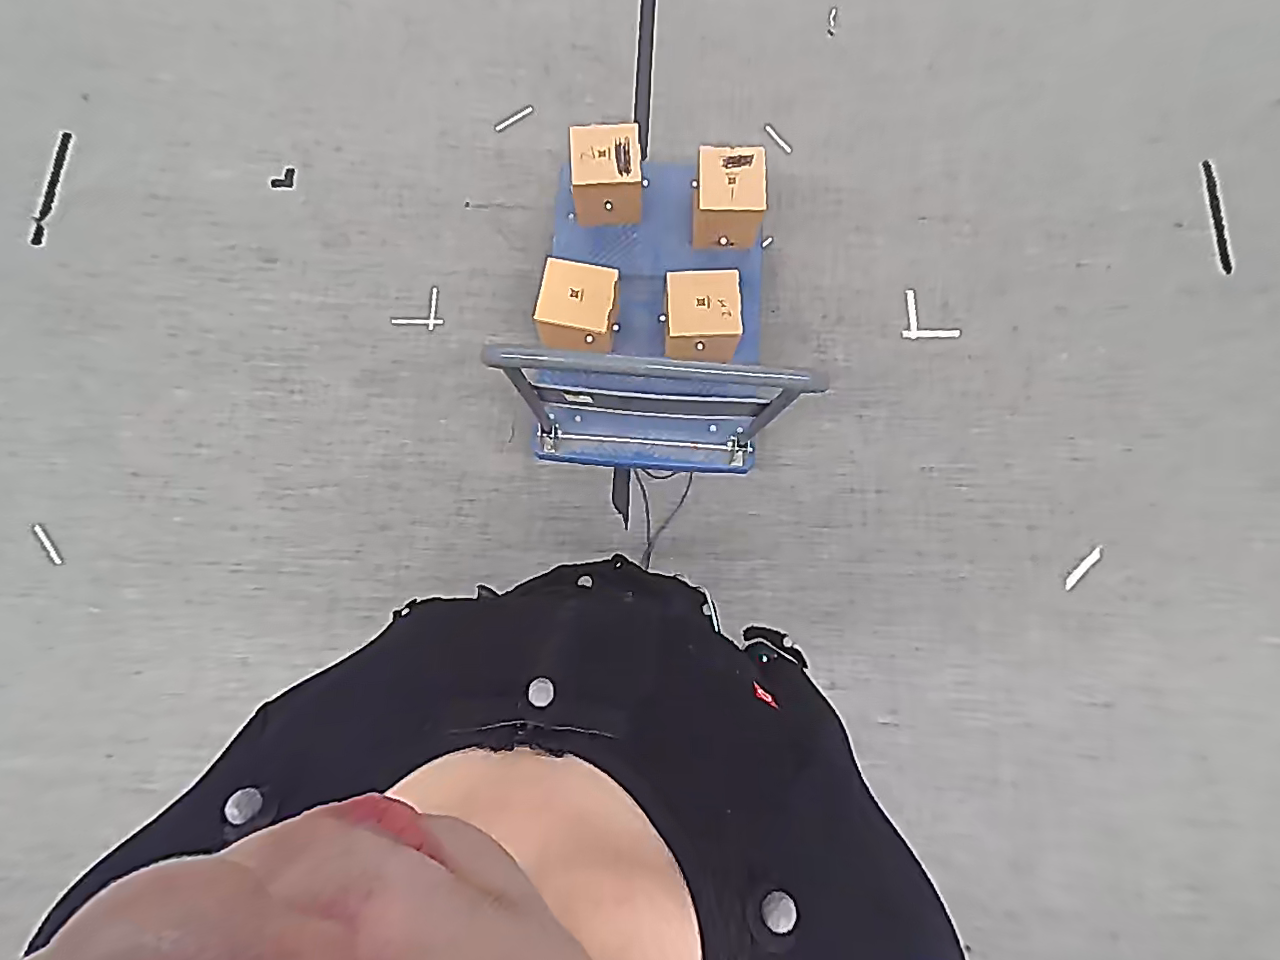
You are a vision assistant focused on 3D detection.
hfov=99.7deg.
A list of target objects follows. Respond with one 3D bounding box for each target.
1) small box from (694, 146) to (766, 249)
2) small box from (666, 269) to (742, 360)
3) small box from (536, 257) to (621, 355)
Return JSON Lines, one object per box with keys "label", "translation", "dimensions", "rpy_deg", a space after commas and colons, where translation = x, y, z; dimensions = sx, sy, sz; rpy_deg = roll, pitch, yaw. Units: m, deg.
{"label": "small box", "translation": [0.232, -0.738, 1.421], "dimensions": [0.168, 0.176, 0.179], "rpy_deg": [1, 82, 0]}
{"label": "small box", "translation": [0.155, -0.412, 1.367], "dimensions": [0.179, 0.176, 0.168], "rpy_deg": [-1, 81, 0]}
{"label": "small box", "translation": [-0.148, -0.432, 1.370], "dimensions": [0.179, 0.176, 0.168], "rpy_deg": [10, 80, 0]}
